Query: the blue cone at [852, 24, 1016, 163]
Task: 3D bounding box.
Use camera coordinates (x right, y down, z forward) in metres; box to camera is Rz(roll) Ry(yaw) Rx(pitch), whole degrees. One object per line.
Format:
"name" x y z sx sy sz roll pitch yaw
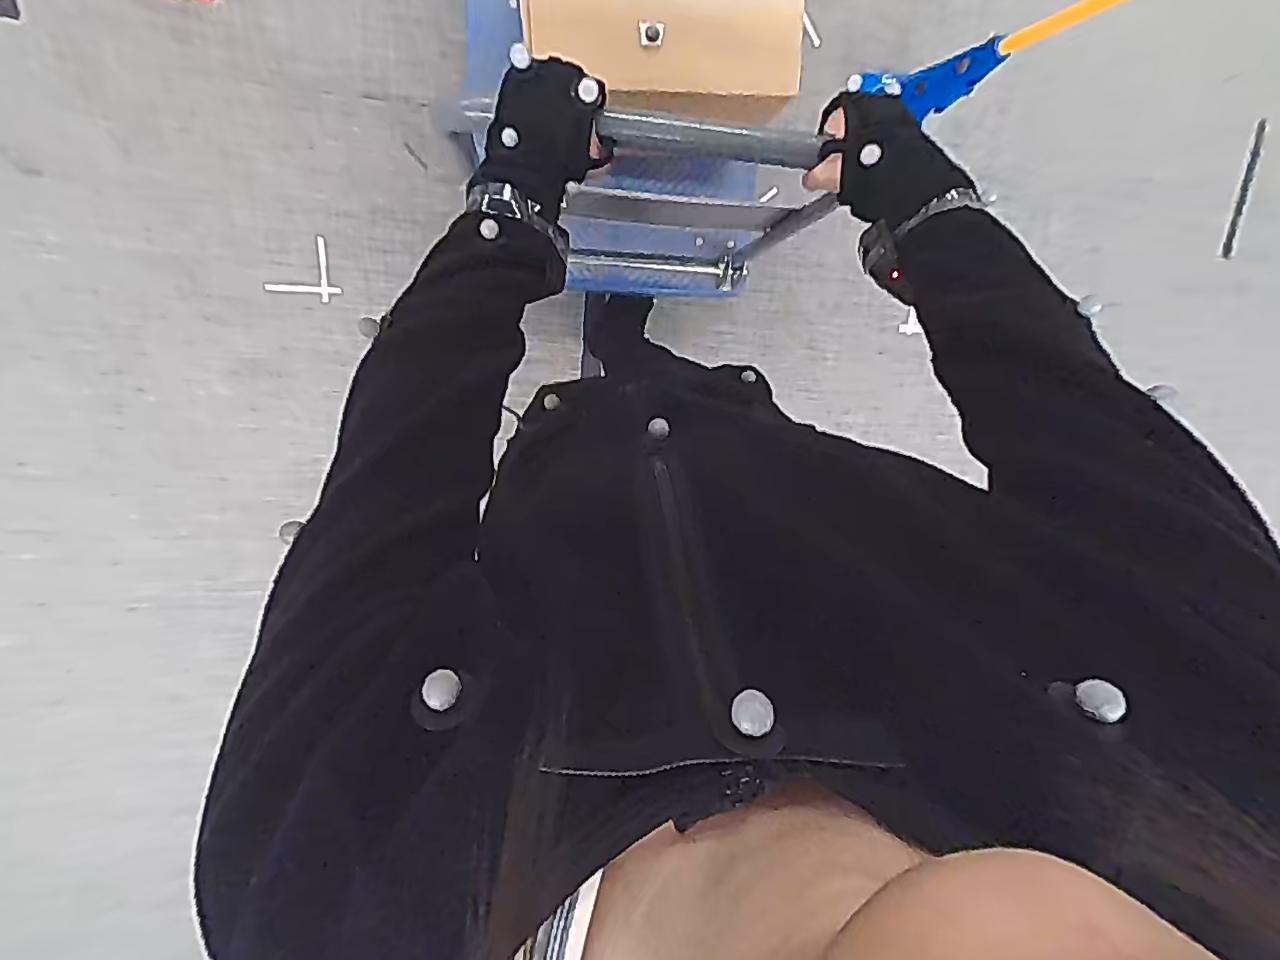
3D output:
"blue cone" 0.634 -0.841 1.159 0.193 0.380 0.192 -3 104 -10
